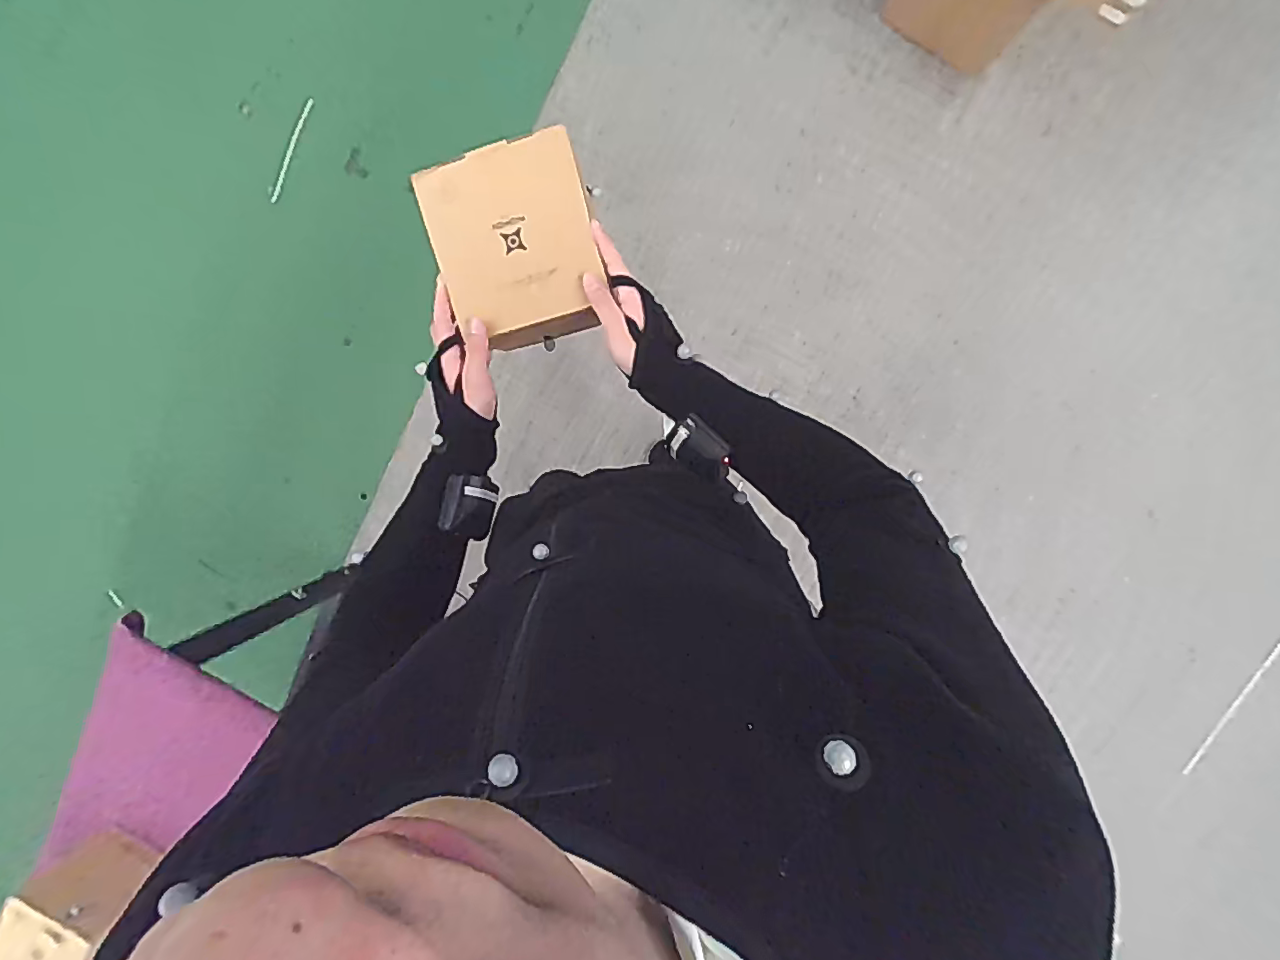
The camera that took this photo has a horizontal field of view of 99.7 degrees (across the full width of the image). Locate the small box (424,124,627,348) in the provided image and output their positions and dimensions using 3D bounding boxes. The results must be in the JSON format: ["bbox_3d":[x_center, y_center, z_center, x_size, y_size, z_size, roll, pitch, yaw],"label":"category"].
[{"bbox_3d":[-0.116,-0.262,0.625,0.168,0.176,0.179,-13,100,6],"label":"small box"}]

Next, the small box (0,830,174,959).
[{"bbox_3d":[-1.037,0.816,1.013,0.168,0.176,0.179,29,99,1],"label":"small box"}]
